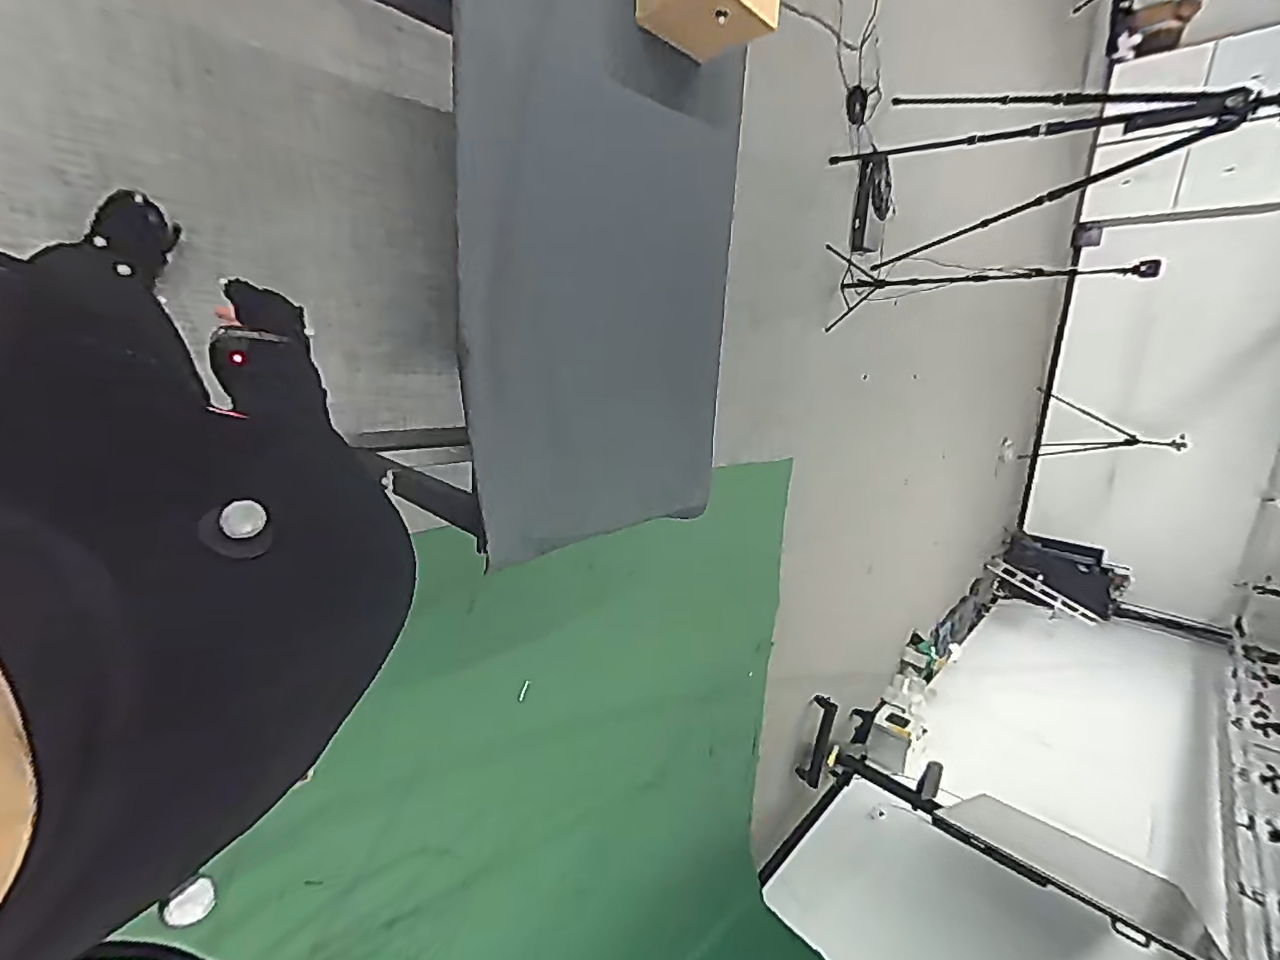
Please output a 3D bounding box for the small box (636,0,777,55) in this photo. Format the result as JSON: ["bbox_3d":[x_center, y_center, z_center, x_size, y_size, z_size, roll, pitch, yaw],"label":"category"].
[{"bbox_3d":[0.109,-0.836,0.880,0.179,0.176,0.168,-12,111,-44],"label":"small box"}]
